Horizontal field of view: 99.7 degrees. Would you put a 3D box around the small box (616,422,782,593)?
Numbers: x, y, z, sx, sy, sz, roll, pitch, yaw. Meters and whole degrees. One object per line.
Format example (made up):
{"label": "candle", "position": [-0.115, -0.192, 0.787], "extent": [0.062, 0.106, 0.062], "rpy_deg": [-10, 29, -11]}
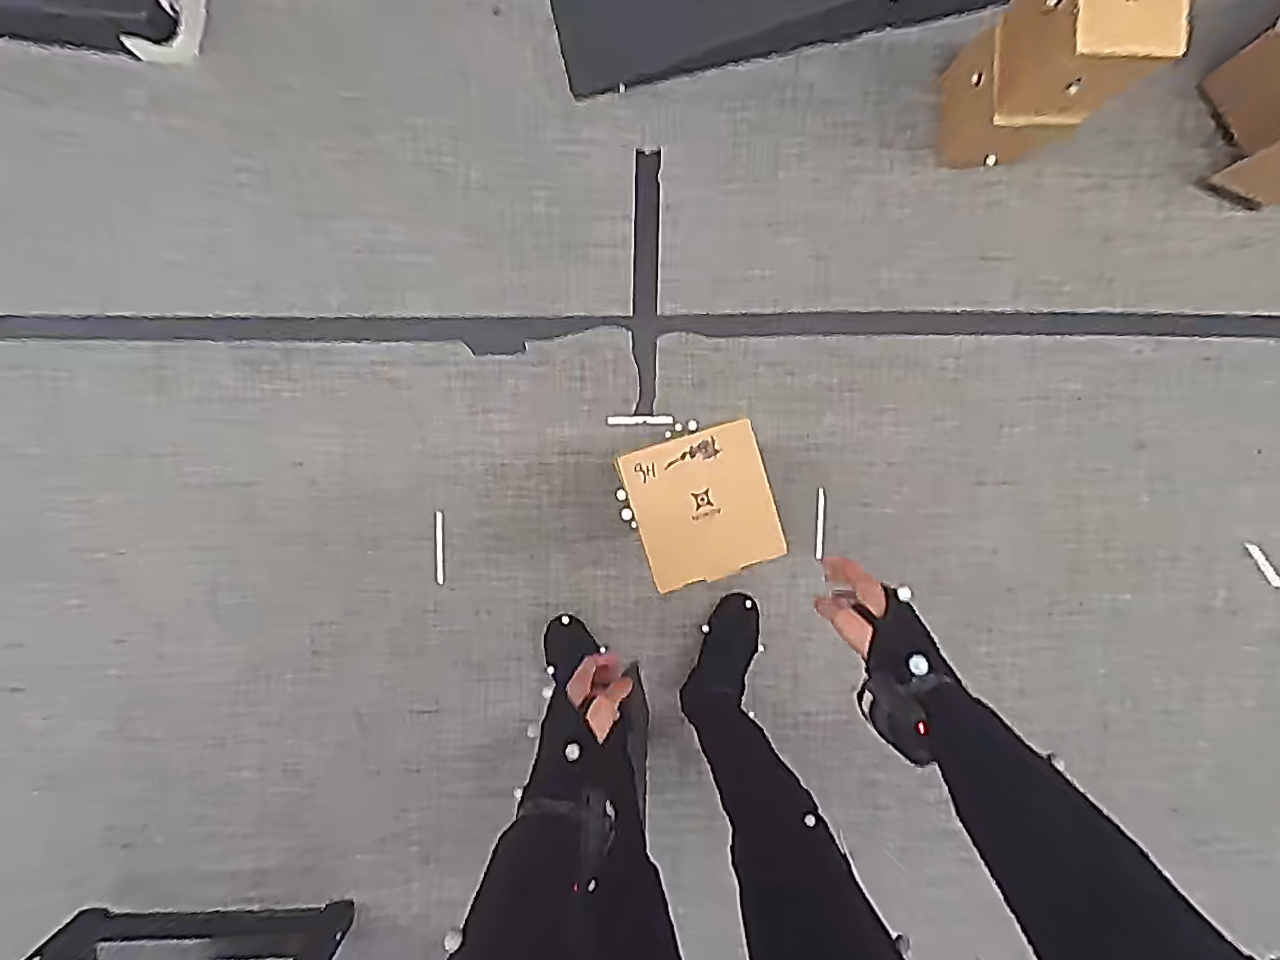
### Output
{"label": "small box", "position": [0.070, 0.025, 0.726], "extent": [0.168, 0.176, 0.179], "rpy_deg": [-17, 96, -2]}
